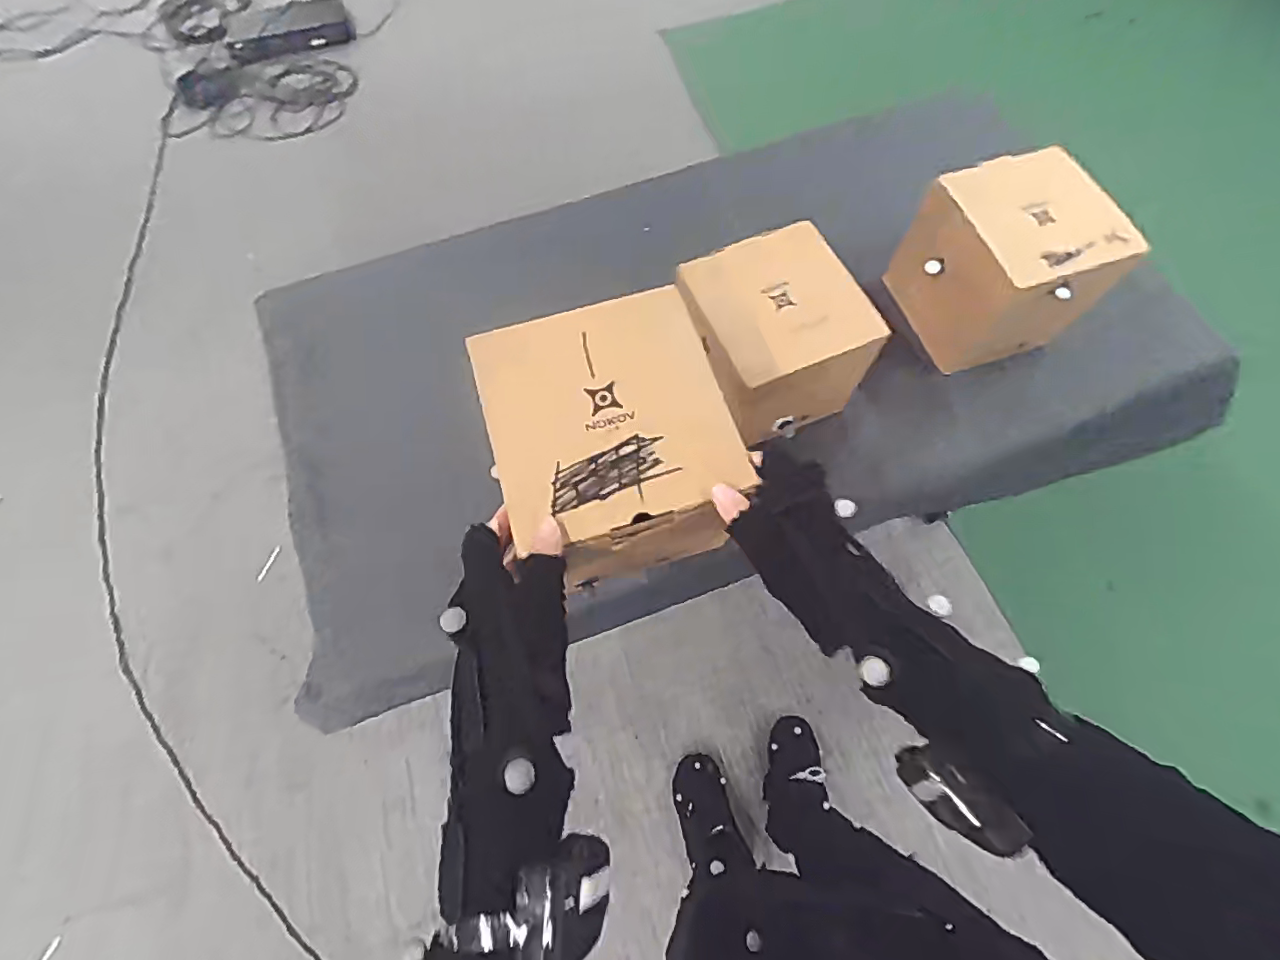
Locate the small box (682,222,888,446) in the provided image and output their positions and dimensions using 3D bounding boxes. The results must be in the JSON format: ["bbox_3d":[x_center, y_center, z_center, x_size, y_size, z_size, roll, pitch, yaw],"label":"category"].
[{"bbox_3d":[0.155,-0.165,0.655,0.168,0.176,0.179,-23,70,-6],"label":"small box"}]

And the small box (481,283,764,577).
[{"bbox_3d":[-0.016,-0.025,0.451,0.168,0.176,0.179,-15,71,-6],"label":"small box"}]

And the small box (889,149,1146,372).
[{"bbox_3d":[0.451,-0.269,0.685,0.168,0.176,0.179,-18,68,-4],"label":"small box"}]
